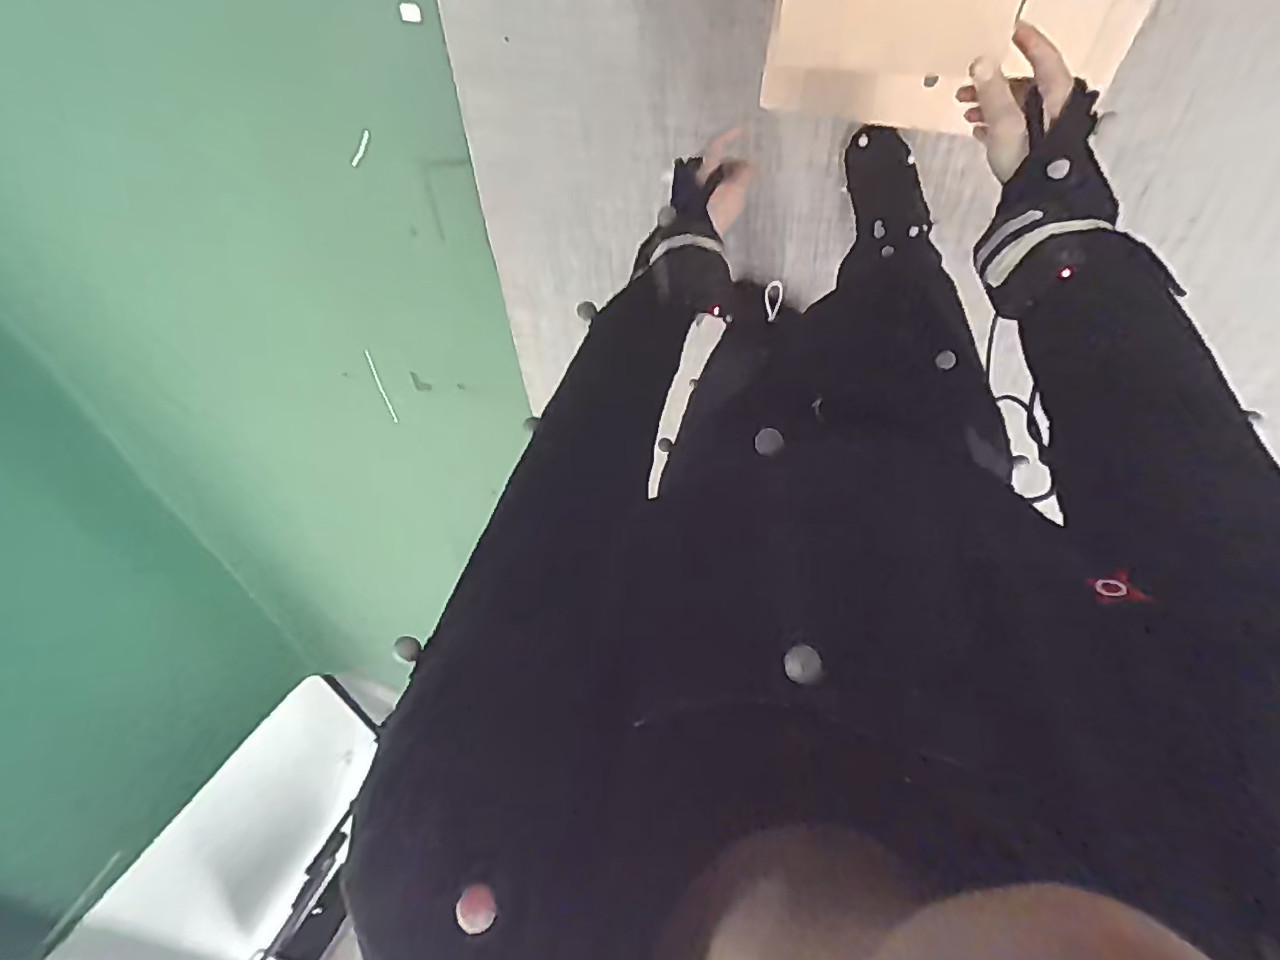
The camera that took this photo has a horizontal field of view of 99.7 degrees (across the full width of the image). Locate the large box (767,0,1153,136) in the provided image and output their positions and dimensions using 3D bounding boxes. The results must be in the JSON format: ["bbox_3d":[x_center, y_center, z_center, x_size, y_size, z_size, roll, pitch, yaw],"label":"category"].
[{"bbox_3d":[0.417,-0.677,0.709,0.408,0.320,0.320,16,136,14],"label":"large box"}]

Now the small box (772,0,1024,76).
[{"bbox_3d":[0.221,-0.441,0.437,0.179,0.176,0.168,15,134,17],"label":"small box"}]
